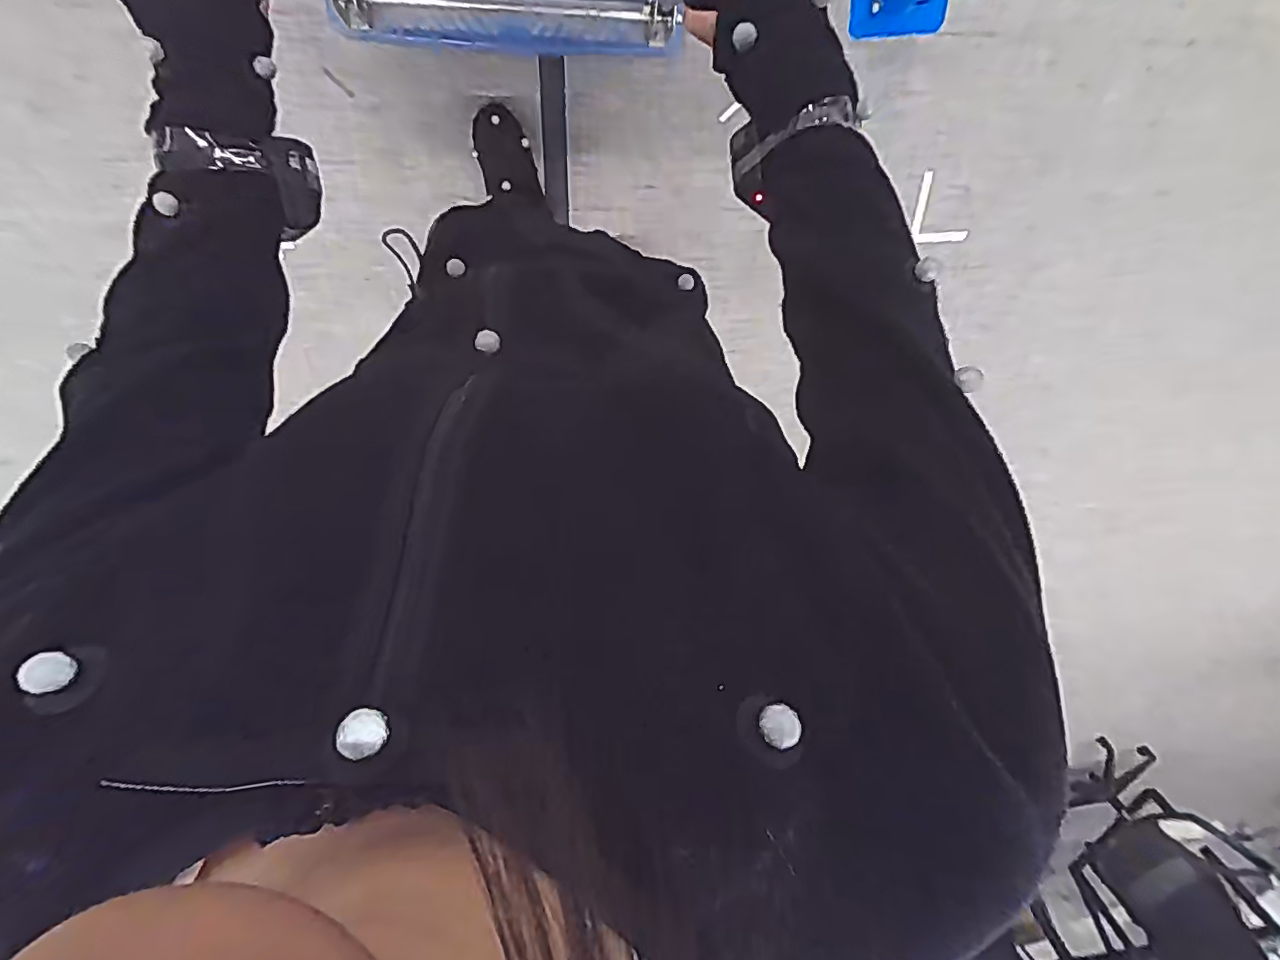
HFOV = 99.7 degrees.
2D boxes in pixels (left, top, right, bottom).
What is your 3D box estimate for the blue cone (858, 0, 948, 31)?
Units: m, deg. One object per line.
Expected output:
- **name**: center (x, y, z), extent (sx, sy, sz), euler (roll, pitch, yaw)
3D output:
- **blue cone**: center (0.538, -0.901, 0.902), extent (0.193, 0.380, 0.192), euler (-6, 123, -5)
